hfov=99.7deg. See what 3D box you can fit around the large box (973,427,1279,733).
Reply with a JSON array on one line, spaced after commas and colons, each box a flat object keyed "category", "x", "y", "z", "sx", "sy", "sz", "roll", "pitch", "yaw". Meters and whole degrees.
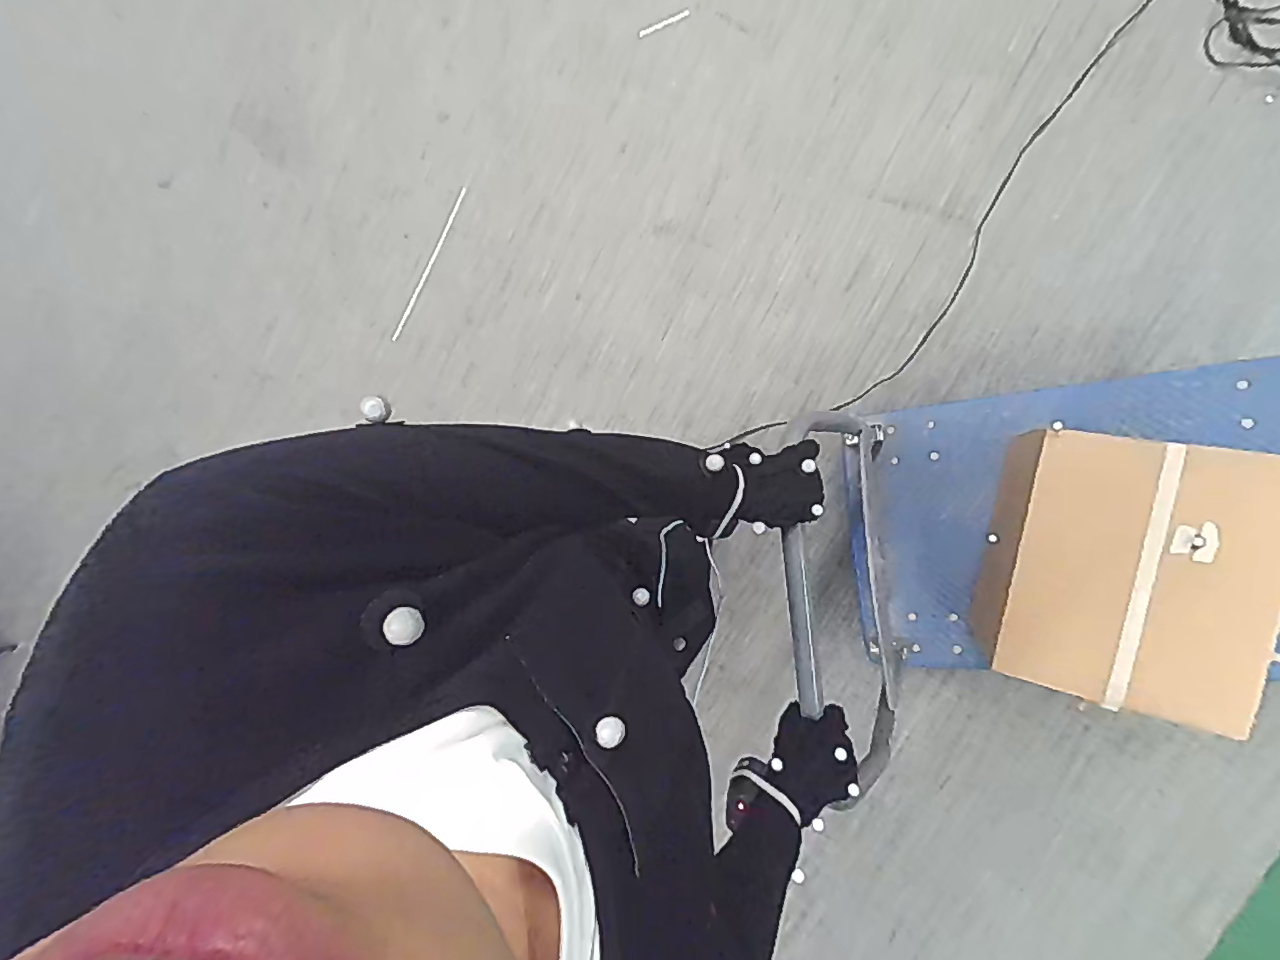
[{"category": "large box", "x": 0.806, "y": 0.137, "z": 0.940, "sx": 0.320, "sy": 0.320, "sz": 0.408, "roll": 12, "pitch": 96, "yaw": 24}]
